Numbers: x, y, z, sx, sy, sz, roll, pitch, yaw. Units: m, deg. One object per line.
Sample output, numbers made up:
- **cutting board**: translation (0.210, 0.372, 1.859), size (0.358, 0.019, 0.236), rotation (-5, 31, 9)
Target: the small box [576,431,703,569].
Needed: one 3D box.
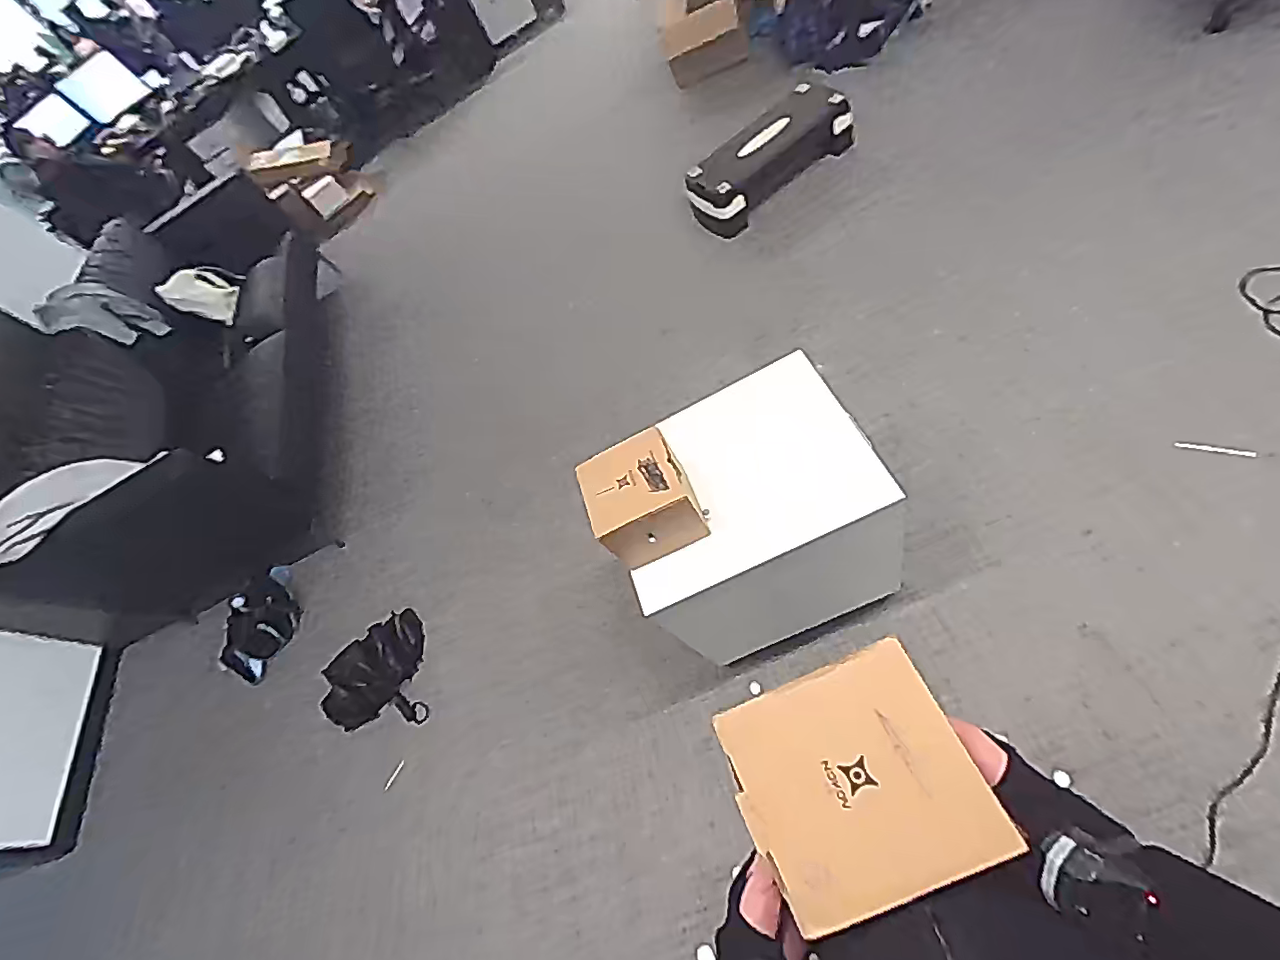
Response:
- **small box**: translation (0.007, 0.044, 1.020), size (0.179, 0.176, 0.168), rotation (-27, 55, 9)
